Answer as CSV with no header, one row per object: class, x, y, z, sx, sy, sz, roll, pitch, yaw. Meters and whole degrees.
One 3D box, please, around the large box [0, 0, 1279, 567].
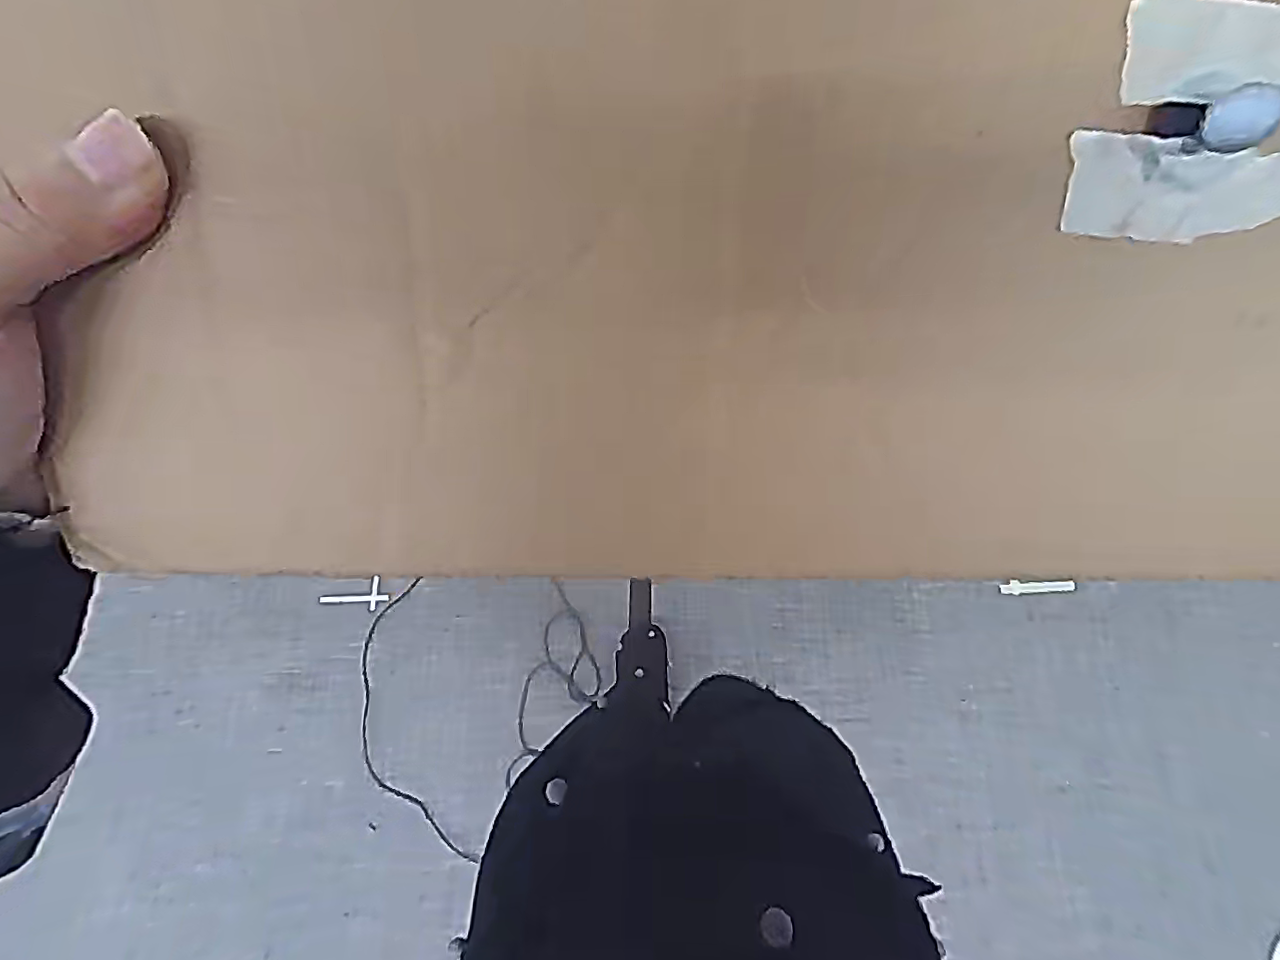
large box,0.048,-0.165,0.267,0.408,0.320,0.320,0,106,-4
